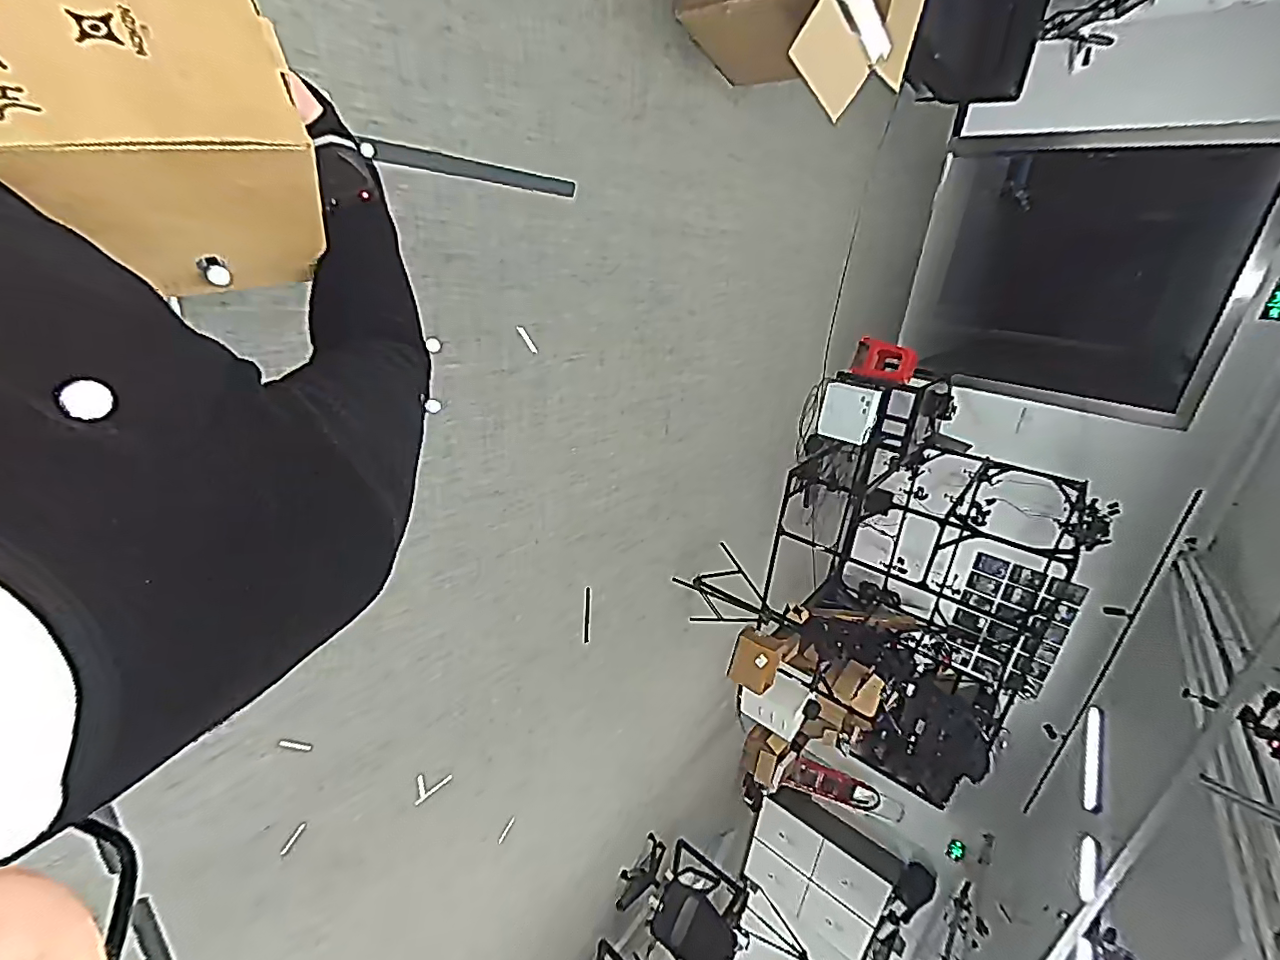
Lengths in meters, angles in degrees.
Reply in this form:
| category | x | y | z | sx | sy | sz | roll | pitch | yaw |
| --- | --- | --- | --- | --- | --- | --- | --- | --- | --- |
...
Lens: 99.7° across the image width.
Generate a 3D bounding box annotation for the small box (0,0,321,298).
| category | x | y | z | sx | sy | sz | roll | pitch | yaw |
| --- | --- | --- | --- | --- | --- | --- | --- | --- | --- |
| small box | -0.372 | -0.267 | 0.428 | 0.179 | 0.176 | 0.168 | -20 | 85 | -30 |
